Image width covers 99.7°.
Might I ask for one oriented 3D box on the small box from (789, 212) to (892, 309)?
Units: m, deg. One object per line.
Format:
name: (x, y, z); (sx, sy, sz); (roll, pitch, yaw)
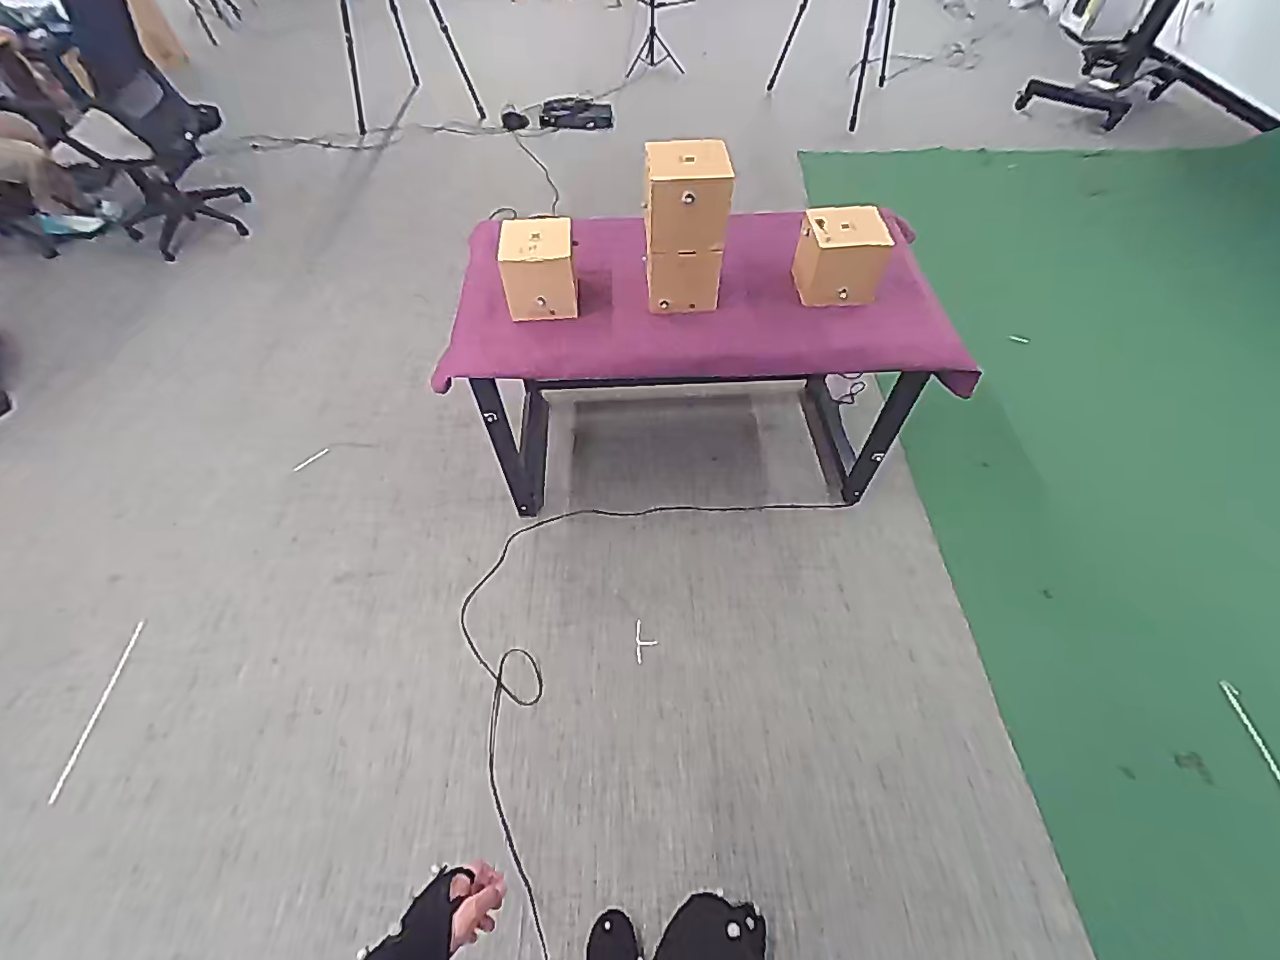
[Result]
small box: (0.489, -0.543, 1.346); (0.179, 0.176, 0.168); (-2, 54, -1)

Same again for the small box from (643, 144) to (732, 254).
small box: (0.098, -0.621, 1.203); (0.179, 0.176, 0.168); (-2, 55, -2)

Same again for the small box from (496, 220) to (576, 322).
small box: (-0.247, -0.510, 1.324); (0.168, 0.176, 0.179); (-4, 55, -2)

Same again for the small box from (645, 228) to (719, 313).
small box: (0.099, -0.529, 1.338); (0.168, 0.176, 0.179); (-3, 54, -2)
